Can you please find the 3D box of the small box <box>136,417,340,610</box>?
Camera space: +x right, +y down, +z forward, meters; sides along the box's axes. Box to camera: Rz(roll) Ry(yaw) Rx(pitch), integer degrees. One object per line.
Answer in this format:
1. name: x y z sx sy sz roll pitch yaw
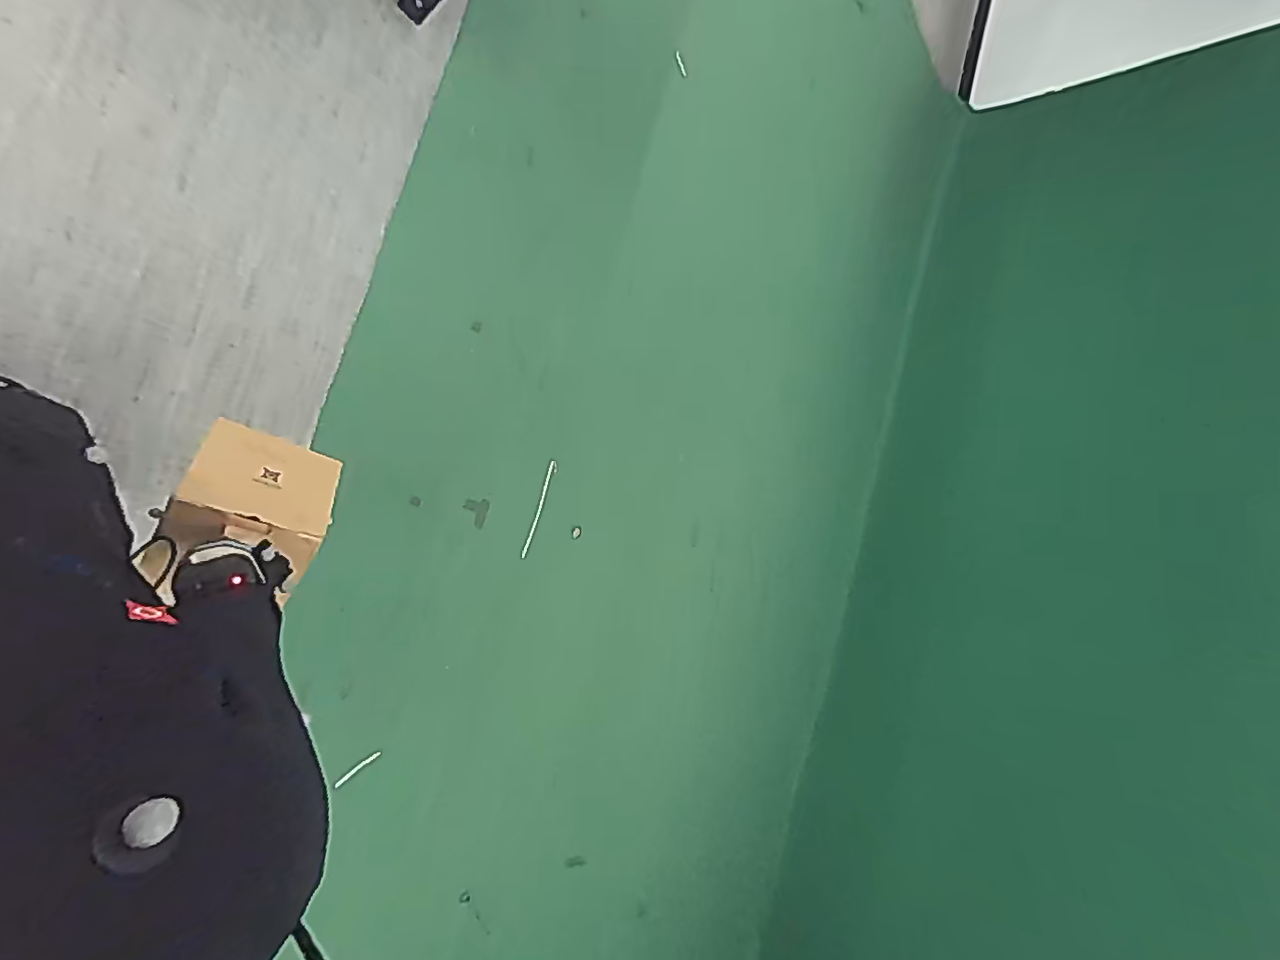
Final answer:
1. small box: -0.548 0.052 0.748 0.168 0.179 0.176 28 114 -36
